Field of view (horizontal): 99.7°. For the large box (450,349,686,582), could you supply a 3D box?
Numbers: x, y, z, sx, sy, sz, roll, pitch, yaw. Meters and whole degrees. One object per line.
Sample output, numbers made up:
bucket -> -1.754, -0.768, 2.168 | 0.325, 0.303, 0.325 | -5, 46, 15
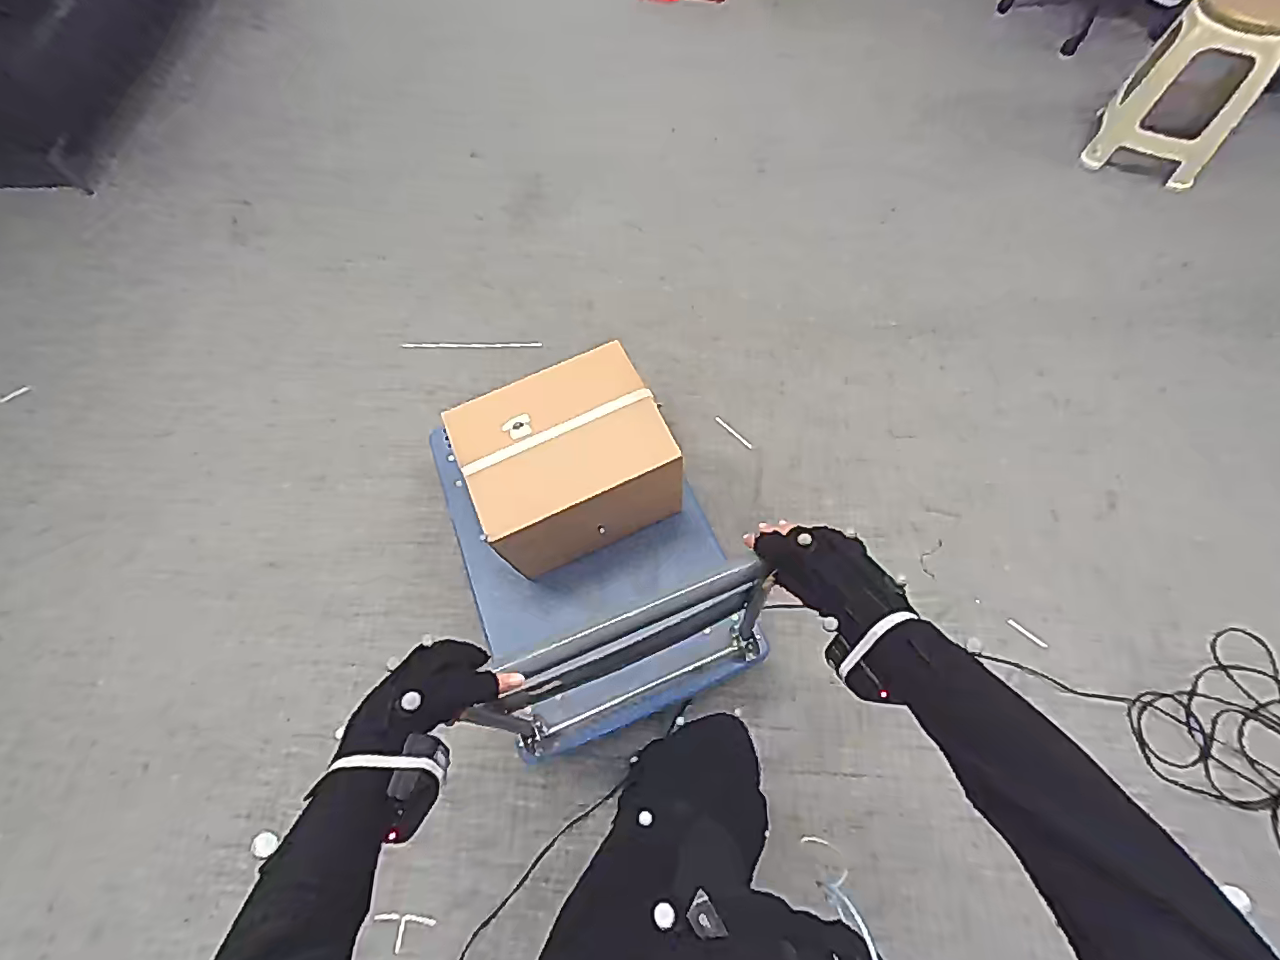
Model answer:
large box -> -0.142, -0.018, 1.220 | 0.408, 0.320, 0.320 | -26, 67, -6
